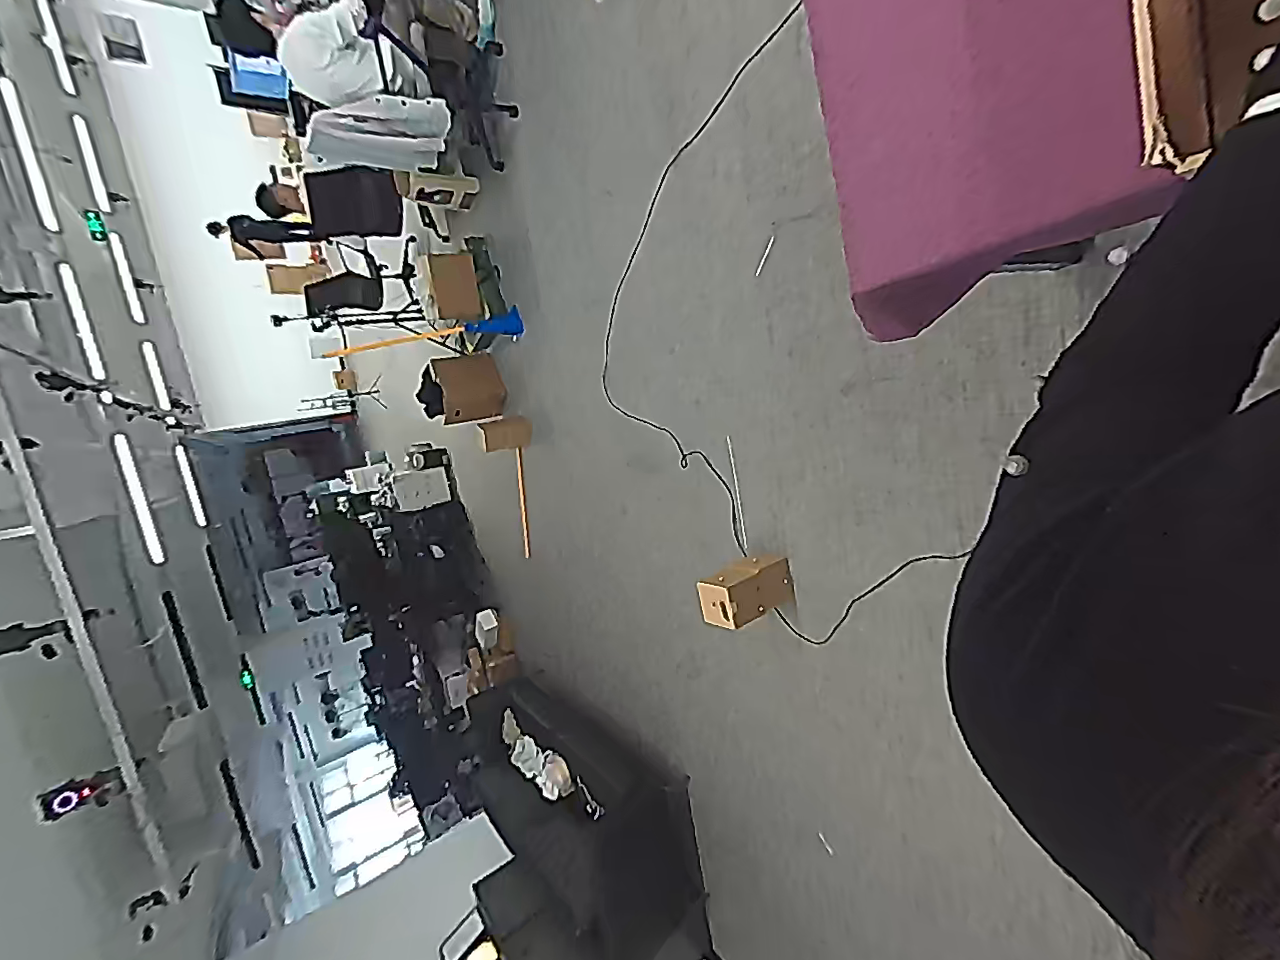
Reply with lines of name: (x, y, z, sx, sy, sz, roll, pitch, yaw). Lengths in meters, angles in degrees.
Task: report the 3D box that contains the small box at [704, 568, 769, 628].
small box: (0.377, 0.447, 2.076, 0.179, 0.176, 0.168, -3, 100, 58)
